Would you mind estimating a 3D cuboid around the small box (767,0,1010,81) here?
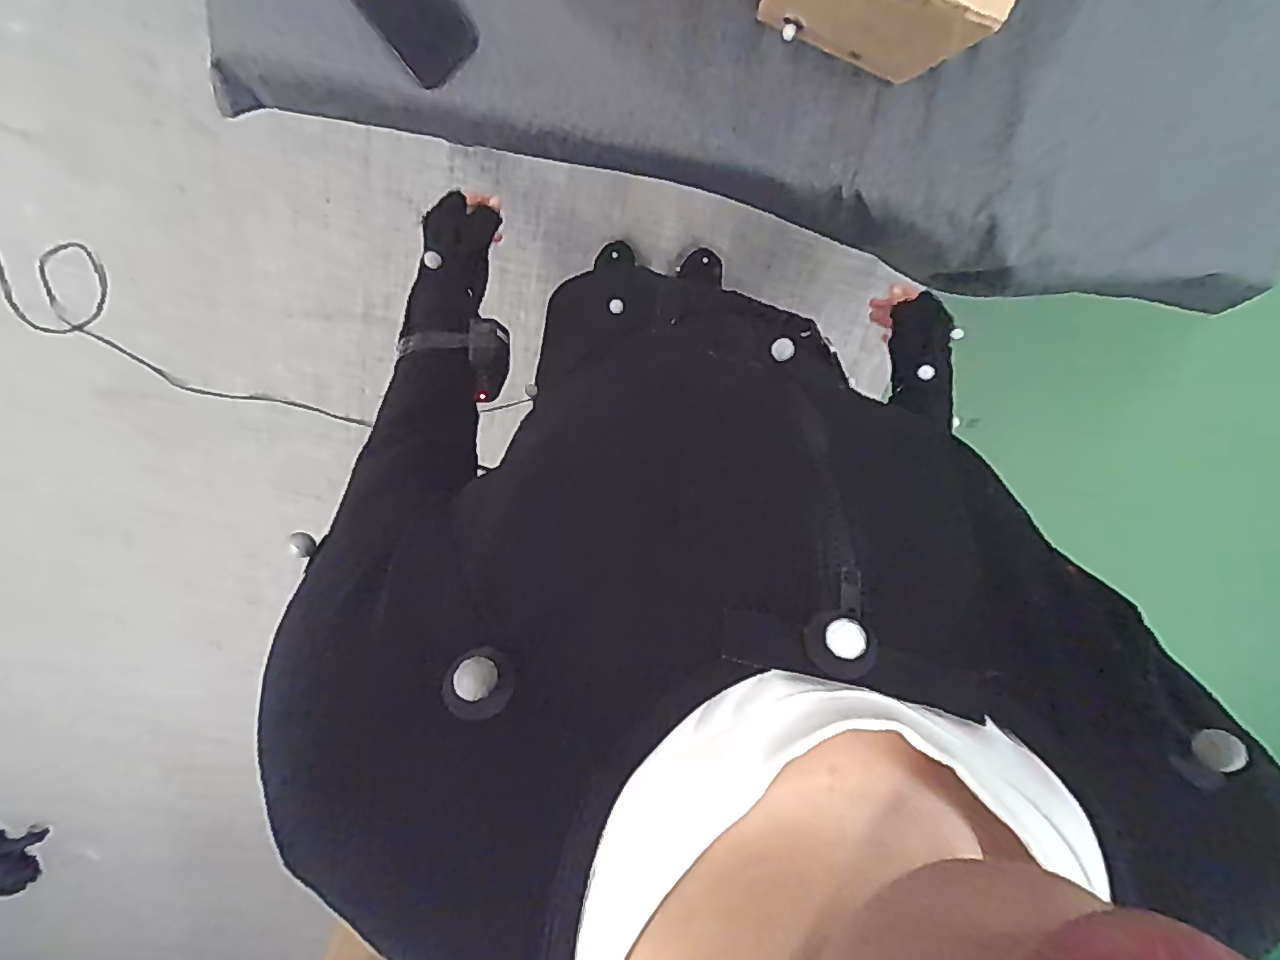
[{"bbox_3d":[0.219,-0.469,0.440,0.168,0.176,0.179,17,111,-9],"label":"small box"}]
